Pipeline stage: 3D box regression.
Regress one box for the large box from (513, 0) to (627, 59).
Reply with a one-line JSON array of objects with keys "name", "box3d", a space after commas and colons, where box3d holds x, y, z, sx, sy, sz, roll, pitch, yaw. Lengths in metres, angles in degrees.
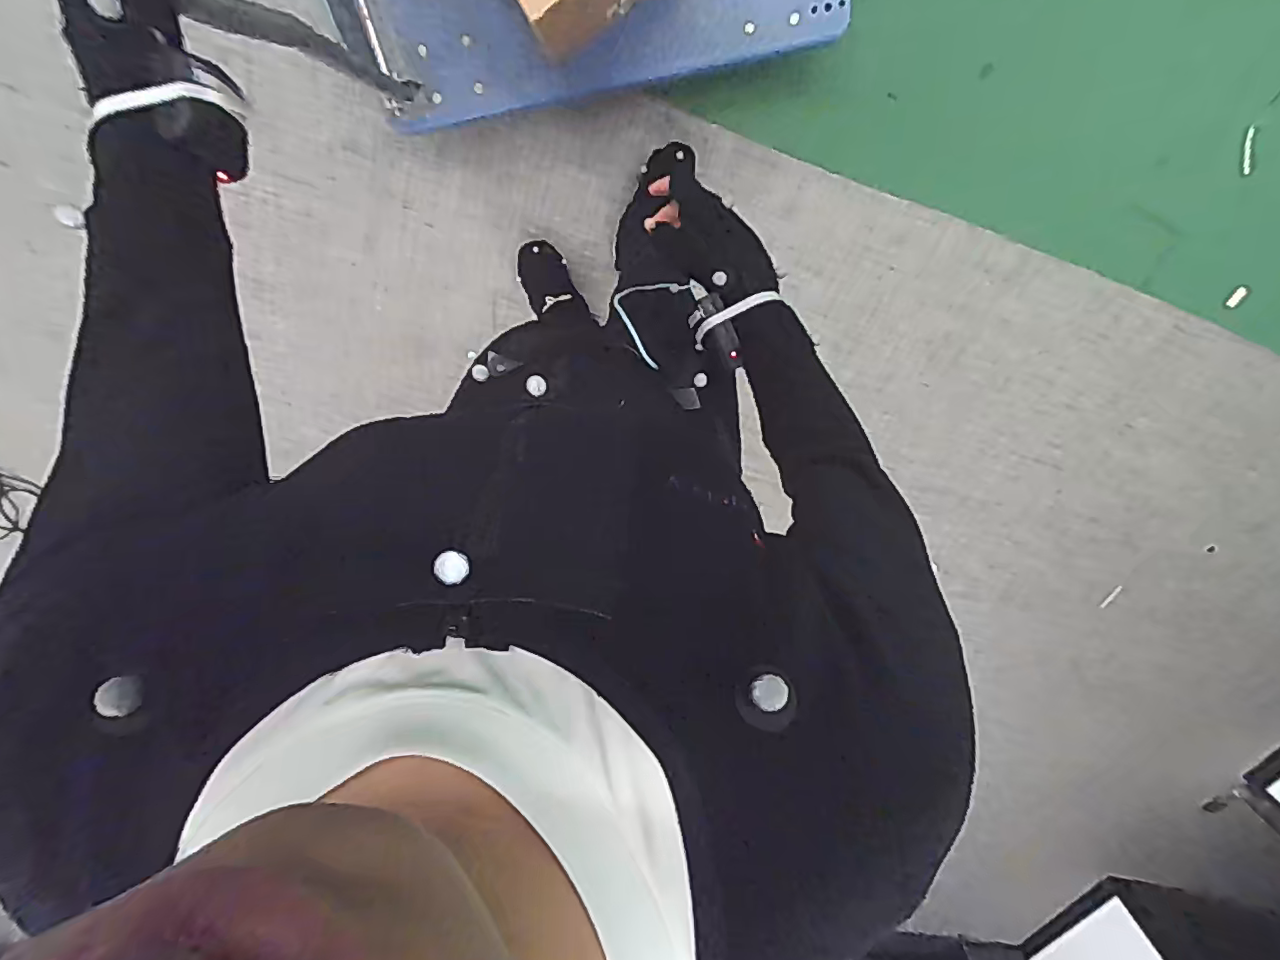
[{"name": "large box", "box3d": [-0.129, -0.901, 0.730, 0.320, 0.320, 0.408, -29, 116, 13]}]
